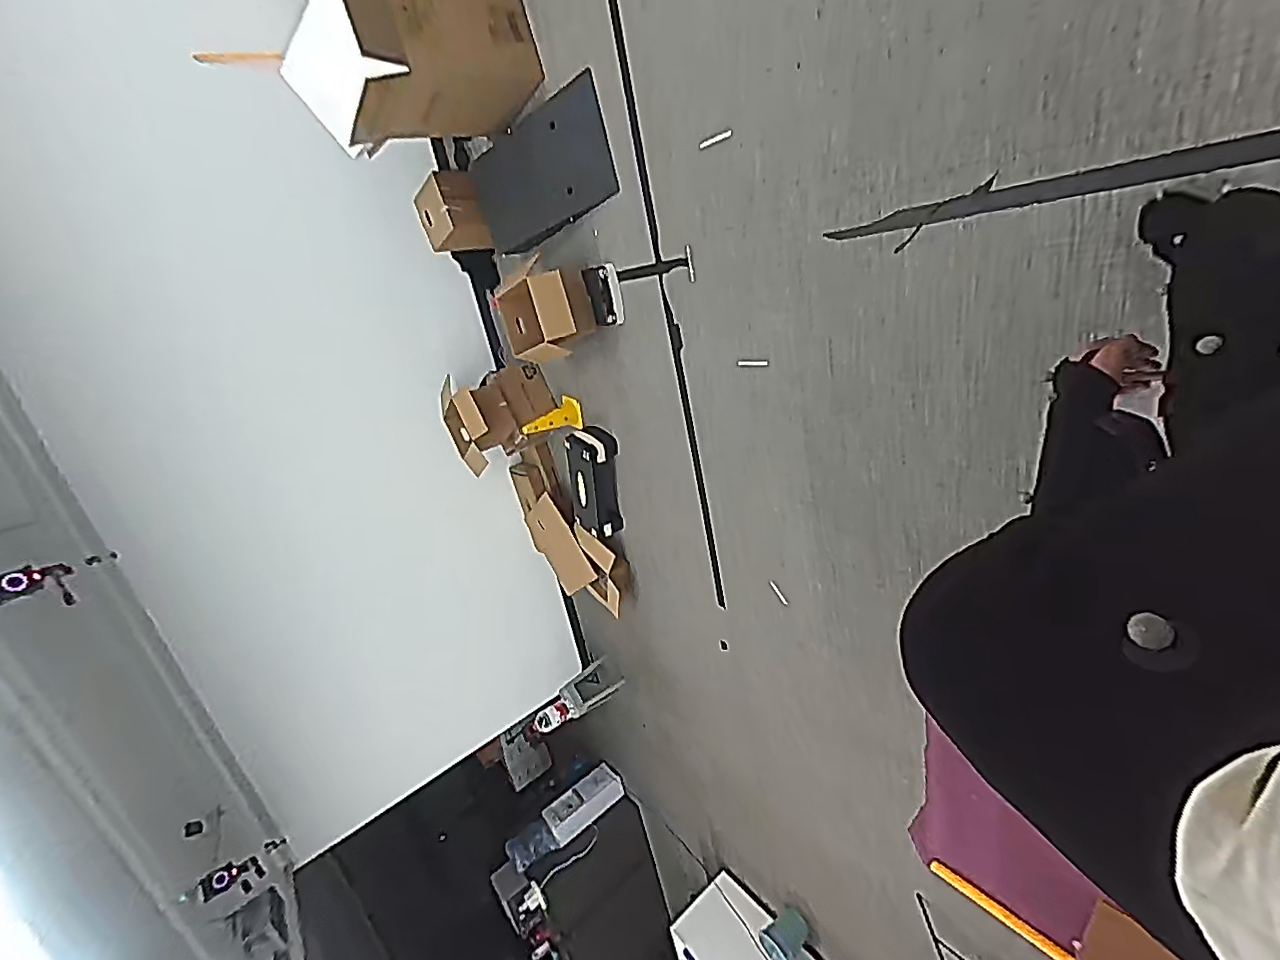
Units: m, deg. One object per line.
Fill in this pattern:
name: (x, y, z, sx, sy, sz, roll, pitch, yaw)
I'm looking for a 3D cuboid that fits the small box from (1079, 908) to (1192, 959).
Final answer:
small box: (0.865, 0.904, 0.927, 0.179, 0.176, 0.168, 16, 123, 51)
